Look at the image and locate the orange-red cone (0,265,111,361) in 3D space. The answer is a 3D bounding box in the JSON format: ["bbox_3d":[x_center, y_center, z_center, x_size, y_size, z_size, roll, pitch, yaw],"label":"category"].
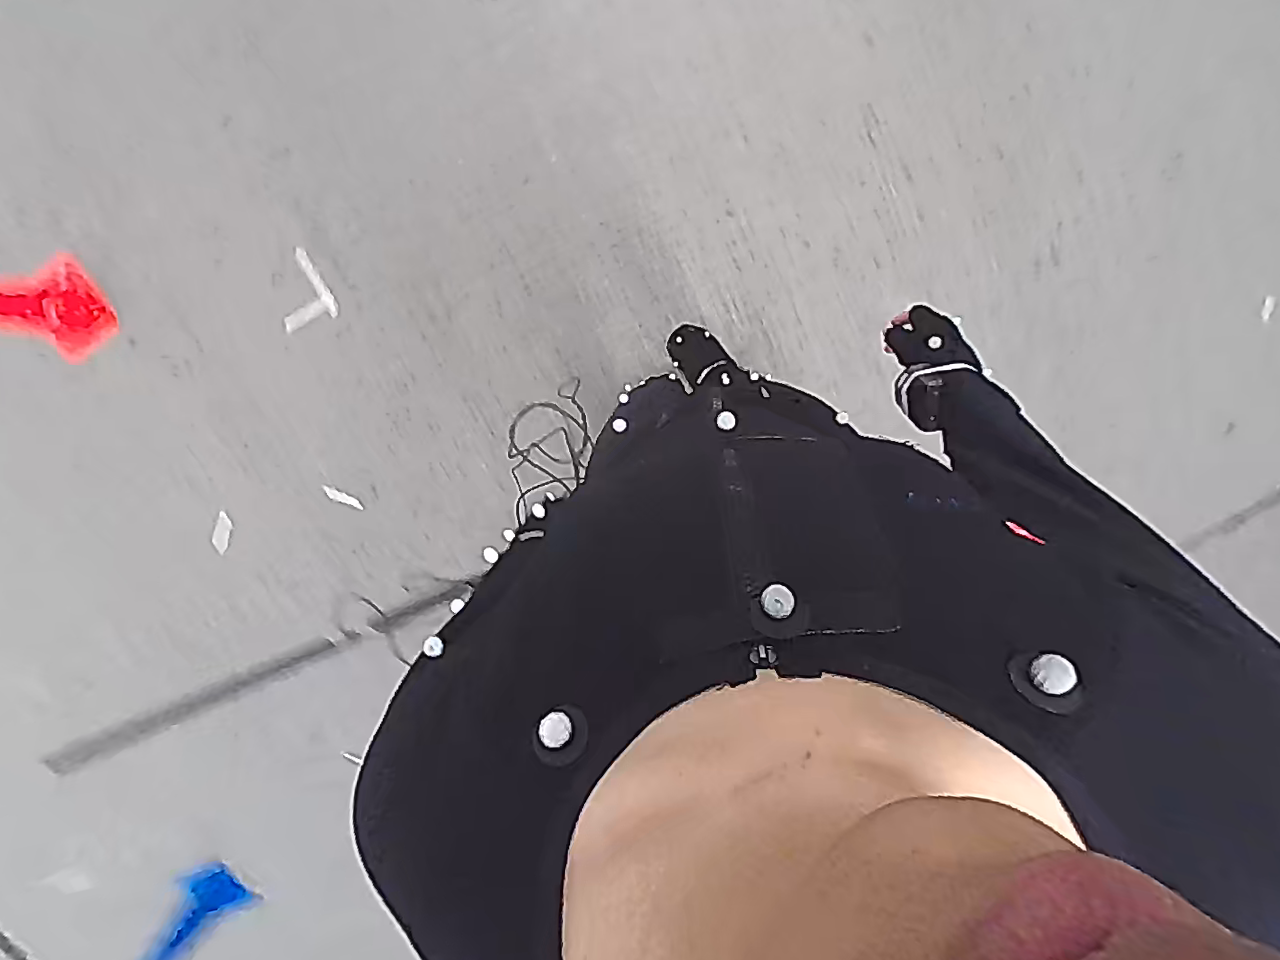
[{"bbox_3d":[-1.538,-0.398,1.271,0.199,0.360,0.198,-29,100,11],"label":"orange-red cone"}]

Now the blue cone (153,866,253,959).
[{"bbox_3d":[-1.485,1.500,1.748,0.193,0.380,0.192,-30,101,9],"label":"blue cone"}]
